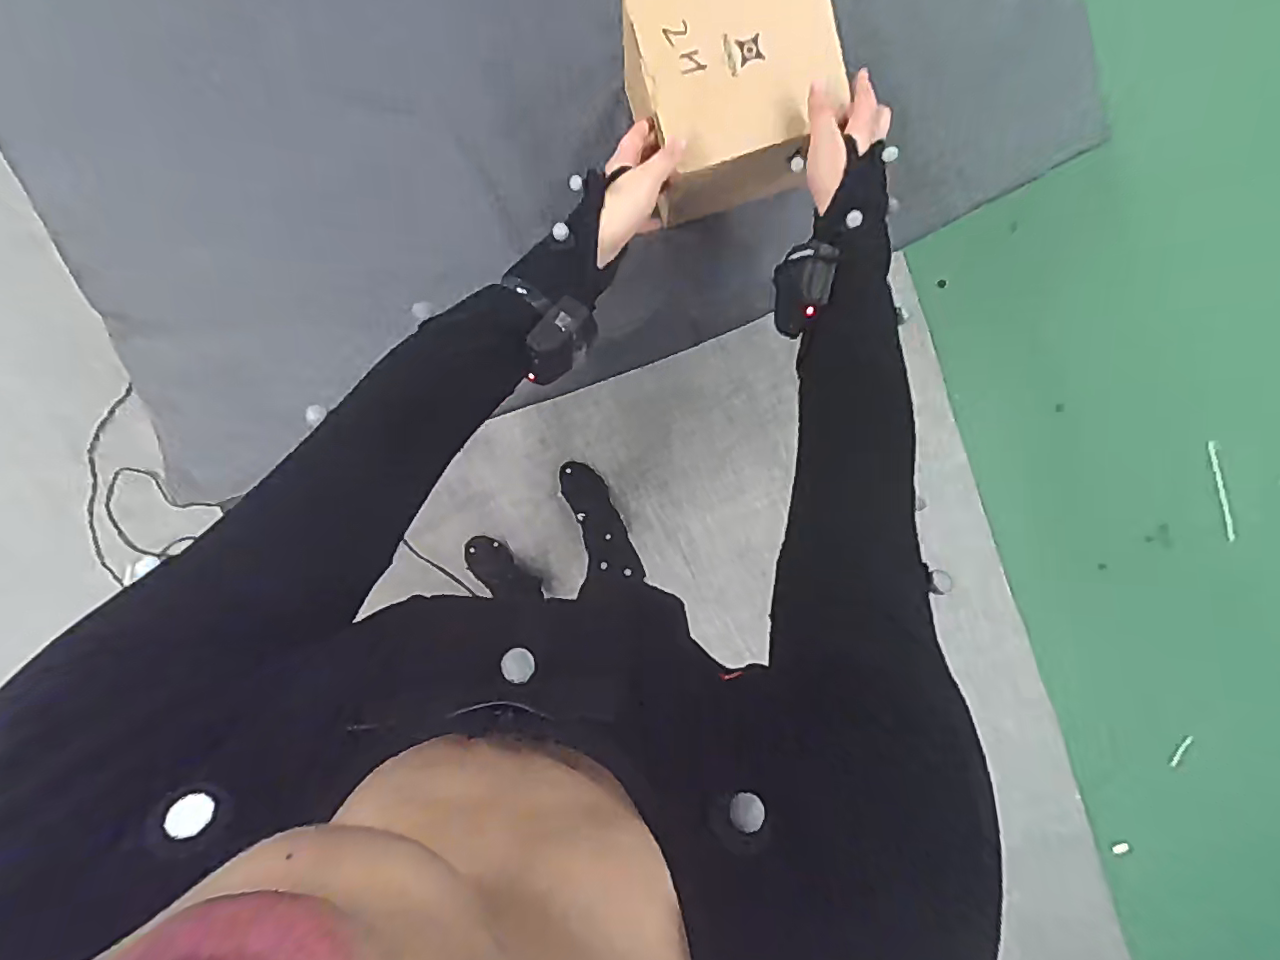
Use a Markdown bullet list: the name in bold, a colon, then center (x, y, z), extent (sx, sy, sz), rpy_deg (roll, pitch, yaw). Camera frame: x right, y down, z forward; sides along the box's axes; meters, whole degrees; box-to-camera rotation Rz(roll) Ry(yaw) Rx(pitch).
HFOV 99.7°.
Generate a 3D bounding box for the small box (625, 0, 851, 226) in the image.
- **small box**: center (0.087, -0.388, 0.557), extent (0.179, 0.176, 0.168), rpy_deg (-16, 100, 3)
